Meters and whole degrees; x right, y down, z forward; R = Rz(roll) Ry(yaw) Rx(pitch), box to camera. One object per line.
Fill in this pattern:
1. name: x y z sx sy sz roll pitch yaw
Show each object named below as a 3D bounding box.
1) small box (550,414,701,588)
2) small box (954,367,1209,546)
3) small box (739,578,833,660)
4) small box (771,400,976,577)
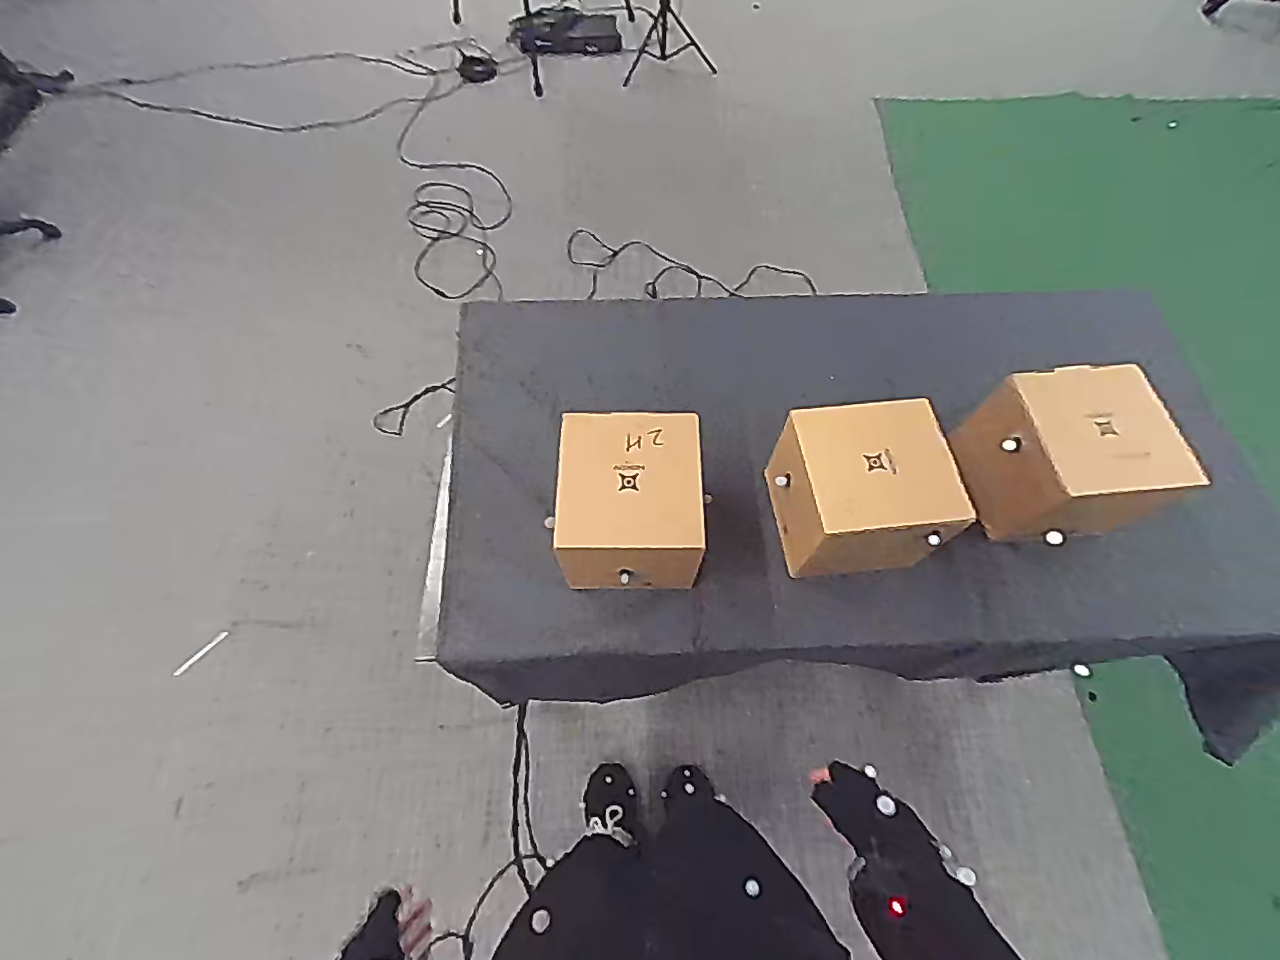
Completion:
1. small box: -0.013 0.034 0.682 0.168 0.176 0.179 1 64 0
2. small box: 0.554 -0.026 0.714 0.168 0.176 0.179 -4 64 -1
3. small box: 0.353 0.347 1.340 0.179 0.176 0.168 -3 64 -1
4. small box: 0.276 0.019 0.694 0.179 0.176 0.168 -6 64 -3
